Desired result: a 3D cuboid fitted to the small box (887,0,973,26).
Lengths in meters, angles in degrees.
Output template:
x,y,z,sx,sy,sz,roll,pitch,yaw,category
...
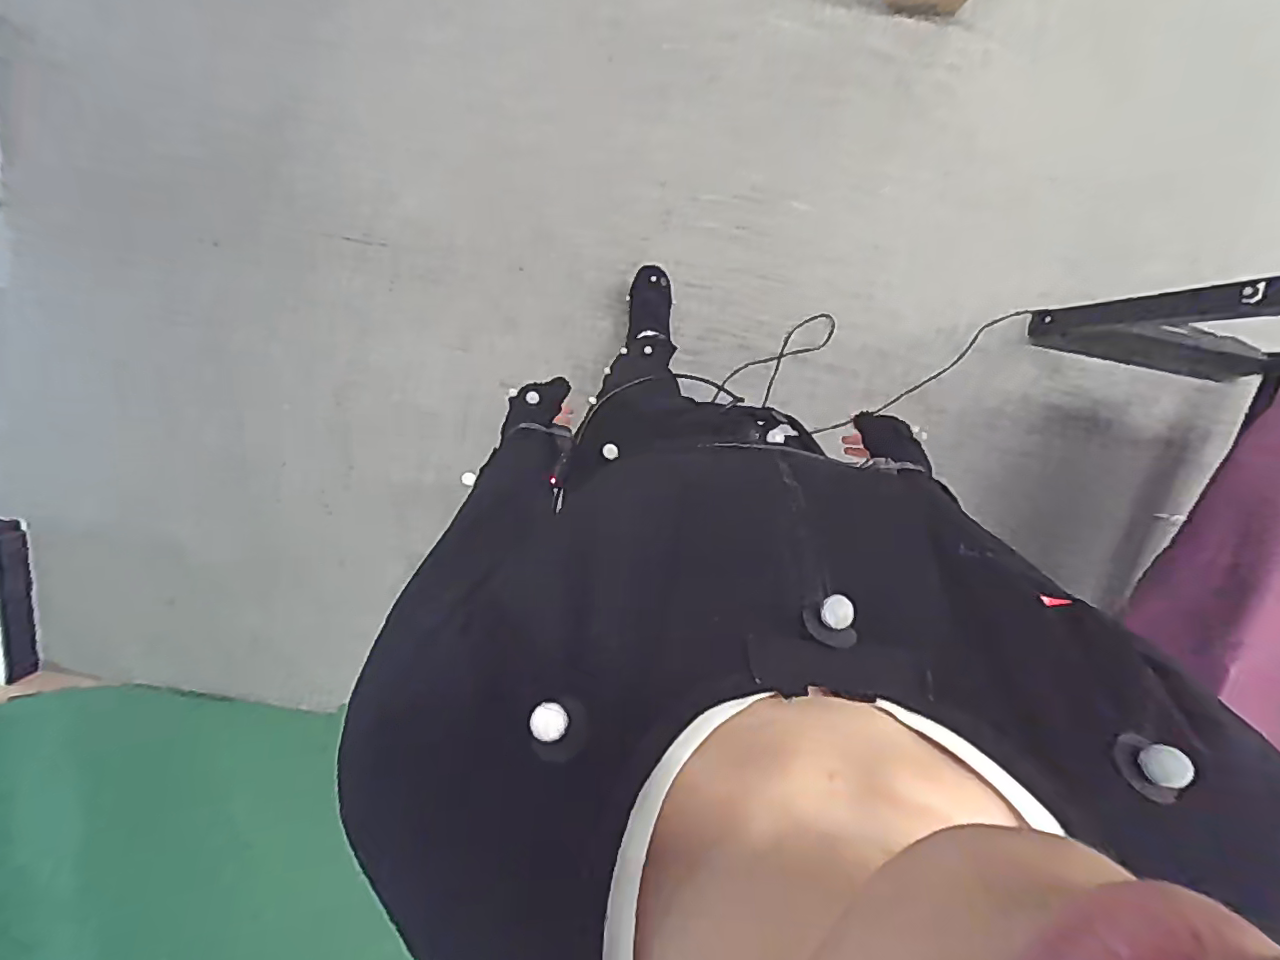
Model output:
x,y,z,sx,sy,sz,roll,pitch,yaw,category
0.653,-1.128,1.150,0.168,0.176,0.179,9,101,0,small box
